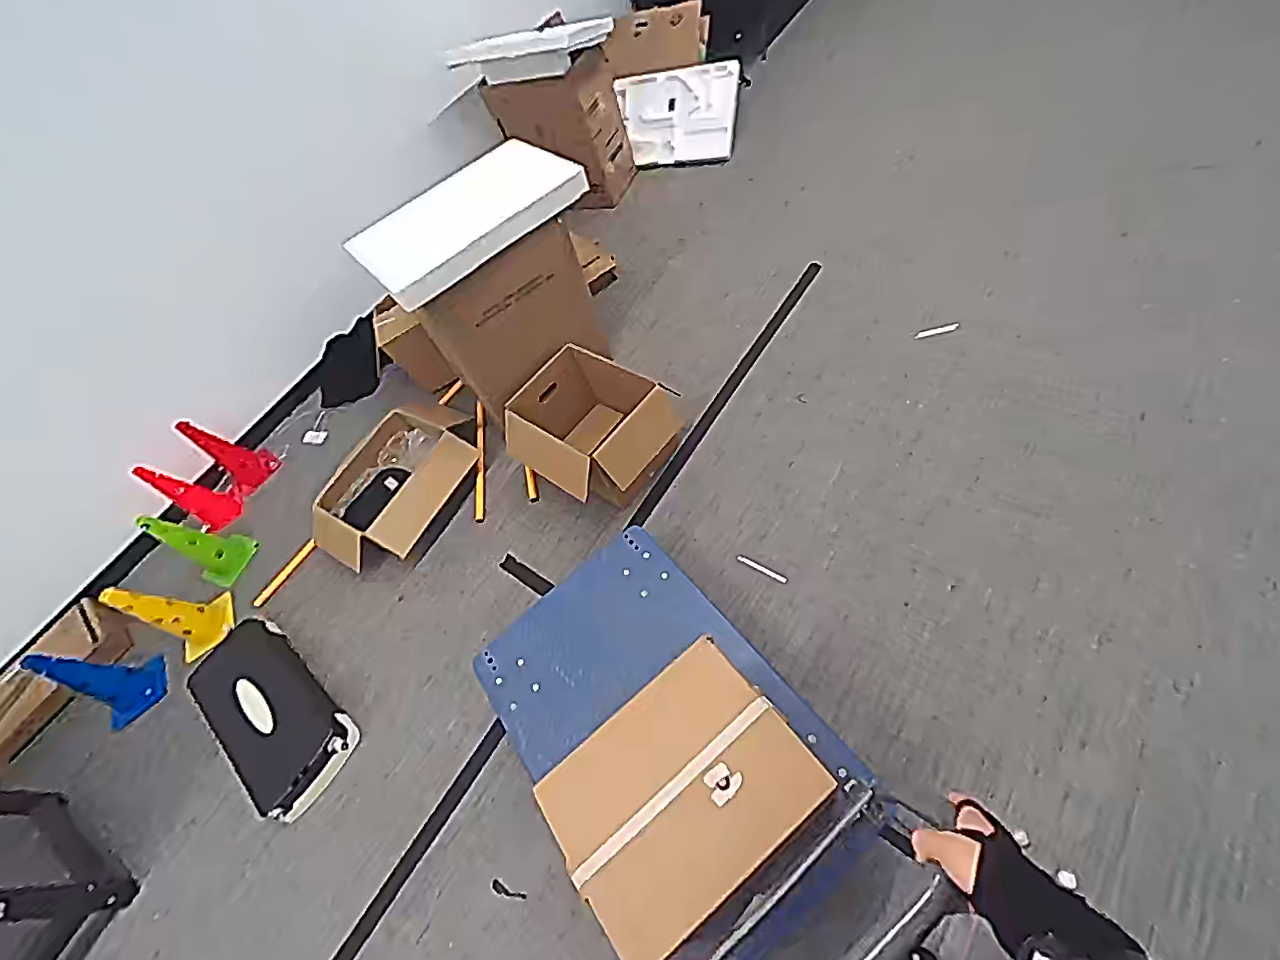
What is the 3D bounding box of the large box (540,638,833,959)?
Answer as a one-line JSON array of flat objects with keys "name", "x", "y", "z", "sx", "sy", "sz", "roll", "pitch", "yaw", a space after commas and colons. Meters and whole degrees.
[{"name": "large box", "x": 0.100, "y": 0.582, "z": 1.001, "sx": 0.408, "sy": 0.320, "sz": 0.320, "roll": -39, "pitch": 55, "yaw": -10}]
